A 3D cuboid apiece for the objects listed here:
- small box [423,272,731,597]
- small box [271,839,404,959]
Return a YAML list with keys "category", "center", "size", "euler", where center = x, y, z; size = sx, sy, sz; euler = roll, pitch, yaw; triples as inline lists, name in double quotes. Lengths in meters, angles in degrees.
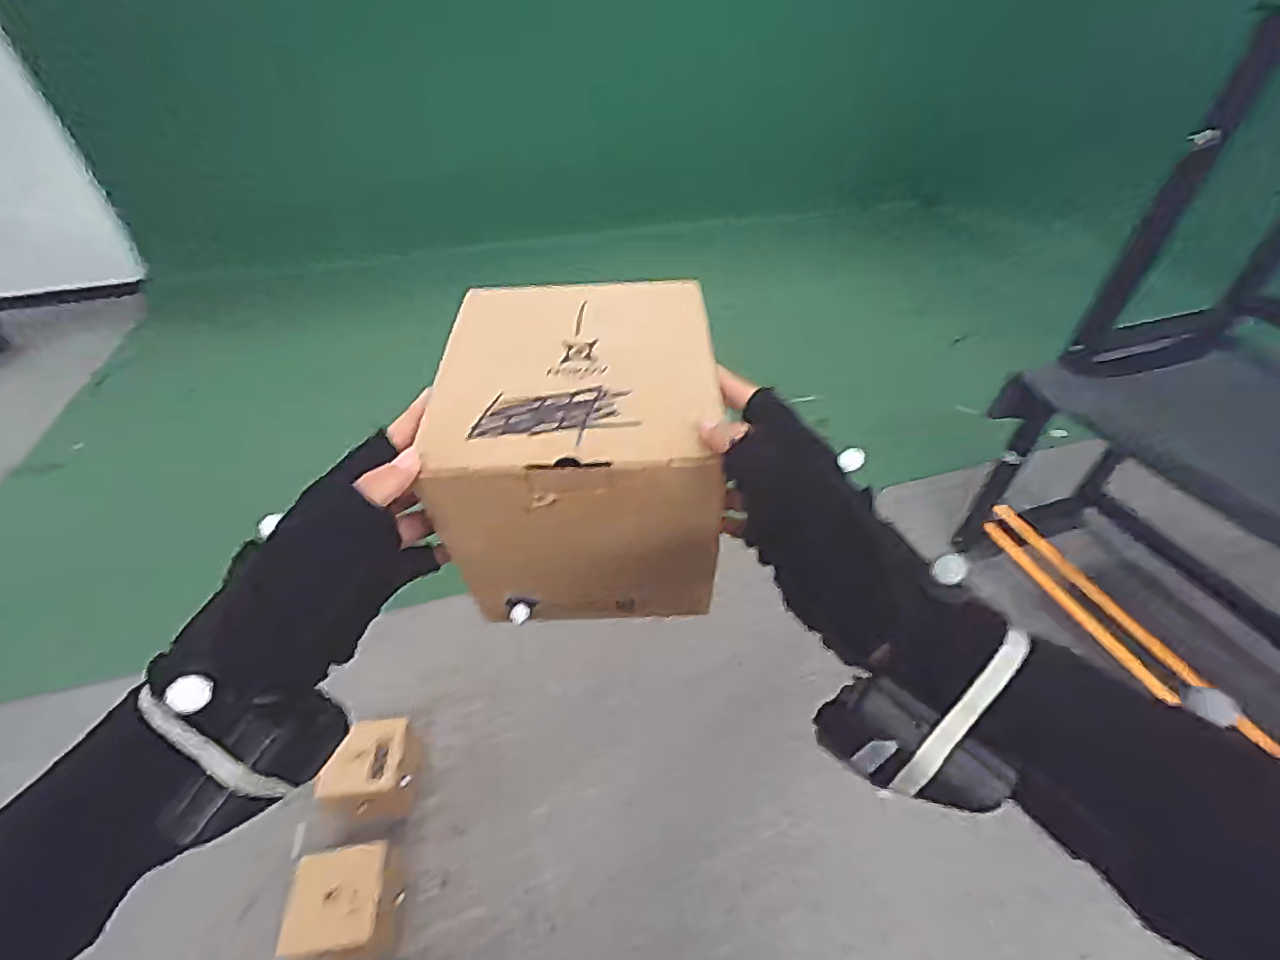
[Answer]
- category: "small box"
  center: [-0.030, -0.026, 0.391]
  size: [0.168, 0.176, 0.179]
  euler: [-2, 48, 1]
- category: "small box"
  center: [-0.614, 0.879, 1.124]
  size: [0.179, 0.176, 0.168]
  euler: [-6, 43, -7]
